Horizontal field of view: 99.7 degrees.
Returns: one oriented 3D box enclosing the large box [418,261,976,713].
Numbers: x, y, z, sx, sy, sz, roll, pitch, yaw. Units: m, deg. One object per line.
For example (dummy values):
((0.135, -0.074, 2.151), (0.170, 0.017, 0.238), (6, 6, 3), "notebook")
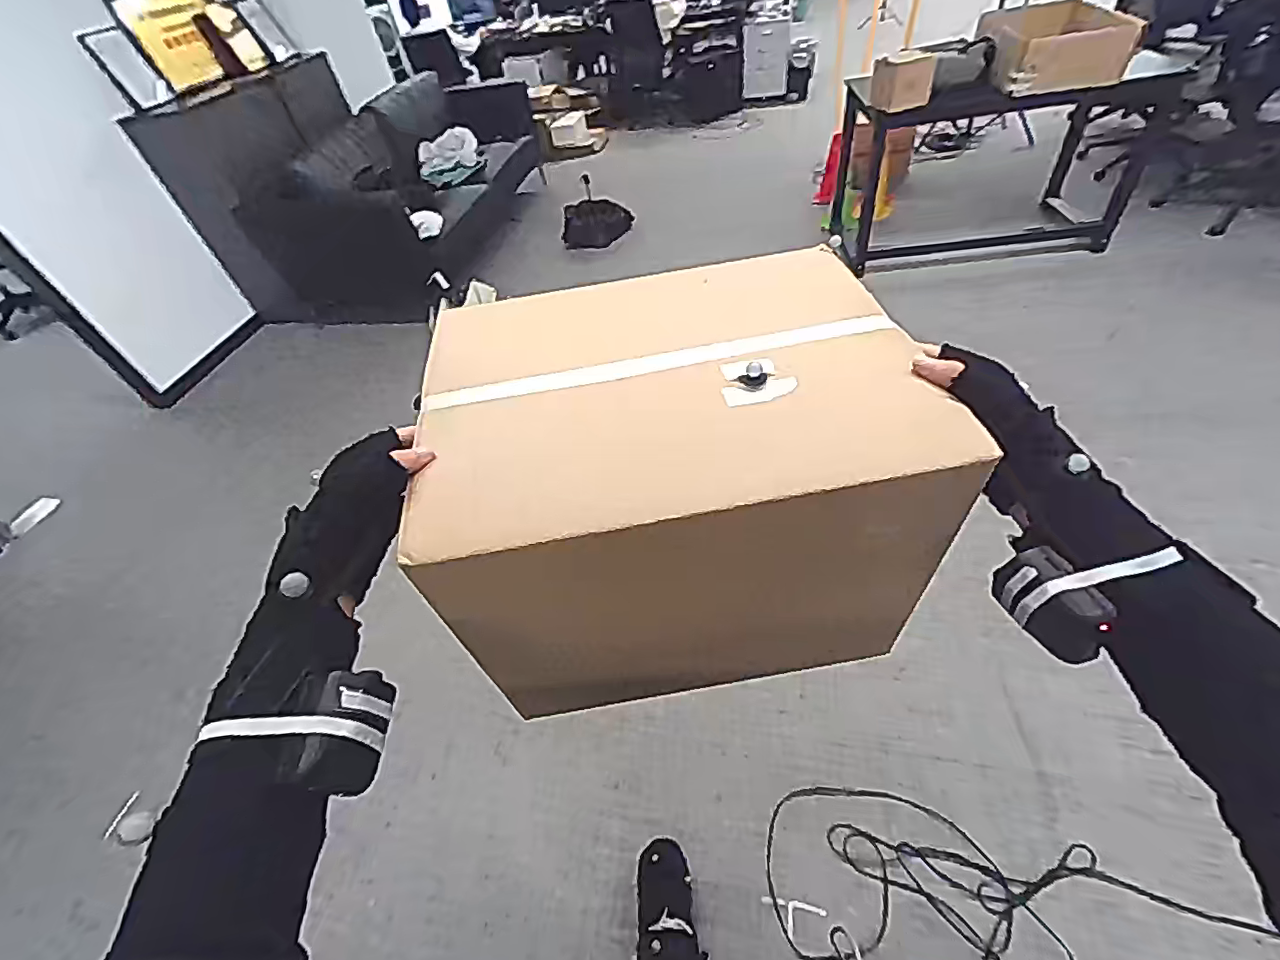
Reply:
((0.033, 0.011, 0.578), (0.408, 0.320, 0.320), (-10, 49, -2), "large box")
